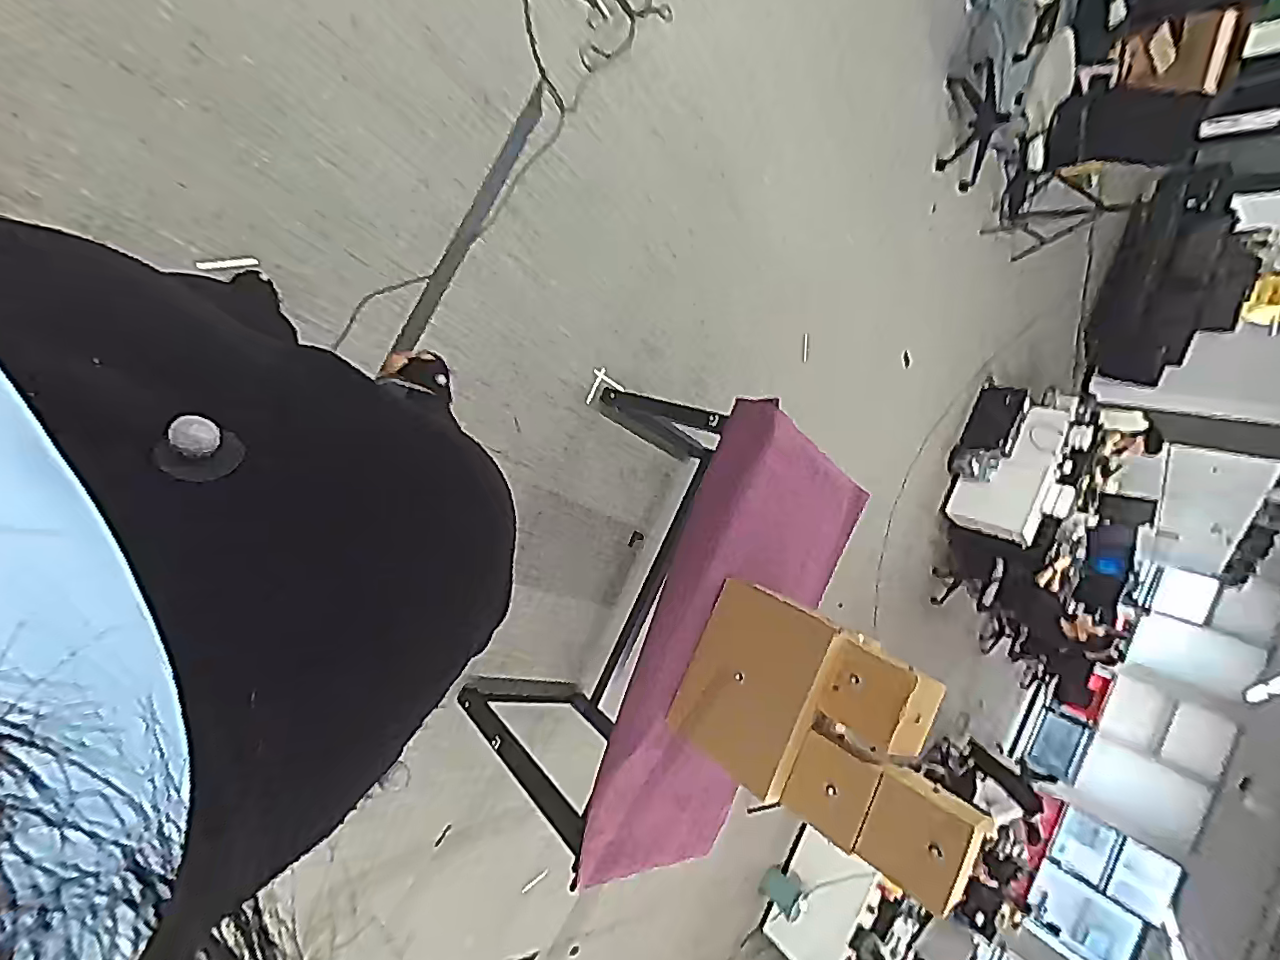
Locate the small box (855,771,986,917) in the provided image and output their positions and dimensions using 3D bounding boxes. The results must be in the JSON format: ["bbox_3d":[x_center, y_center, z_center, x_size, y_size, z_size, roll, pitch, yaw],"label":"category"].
[{"bbox_3d":[0.555,0.702,1.073,0.168,0.176,0.179,29,84,-45],"label":"small box"}]
